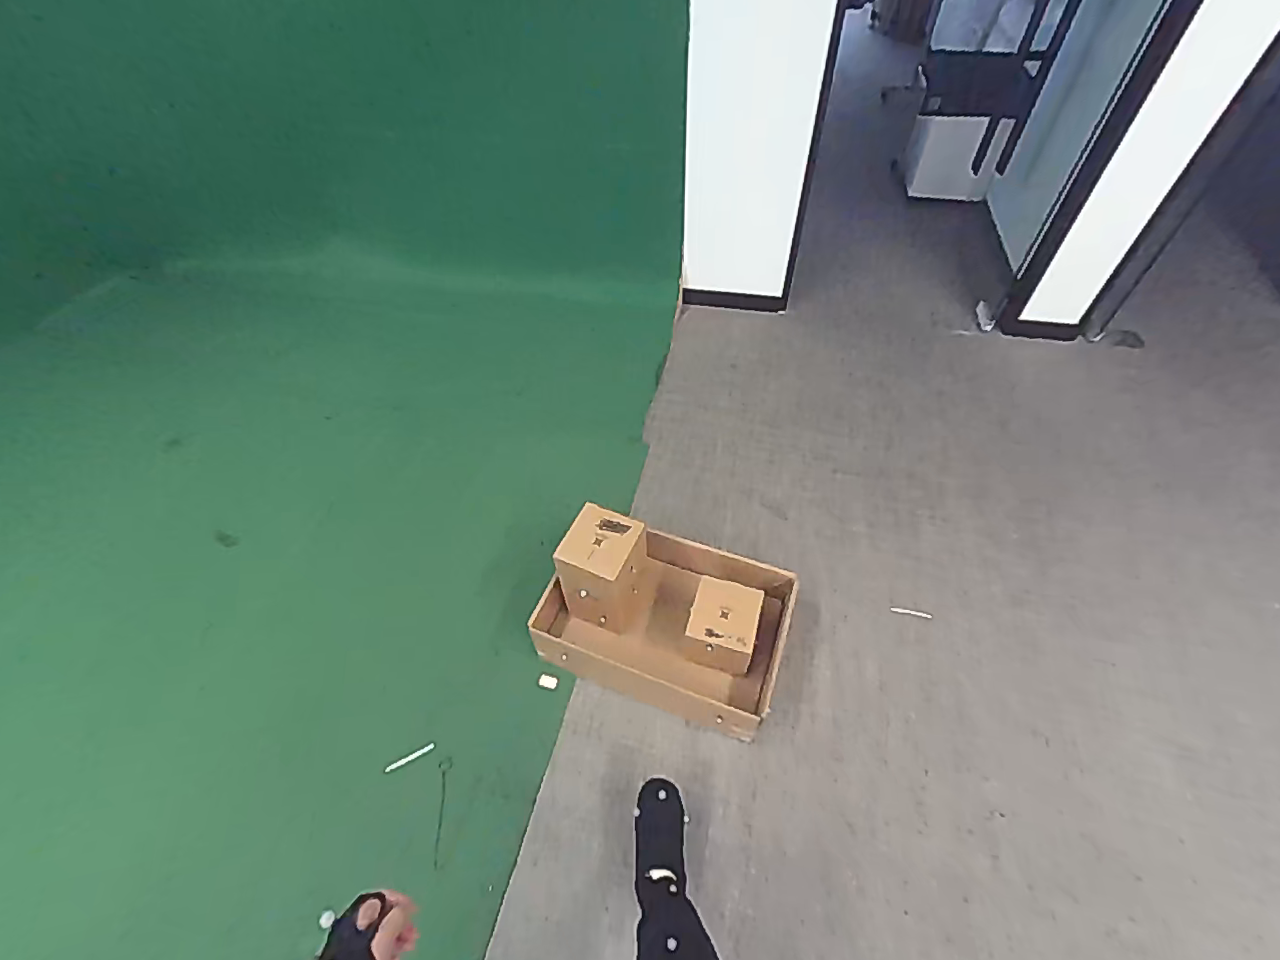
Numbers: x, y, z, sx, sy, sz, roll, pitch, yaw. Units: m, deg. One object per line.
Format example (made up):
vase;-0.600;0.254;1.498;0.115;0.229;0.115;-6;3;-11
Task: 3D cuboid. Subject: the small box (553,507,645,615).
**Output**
small box;-0.096;0.205;1.352;0.168;0.176;0.179;19;55;16

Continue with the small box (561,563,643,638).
small box;-0.095;0.305;1.482;0.168;0.176;0.179;19;54;15
